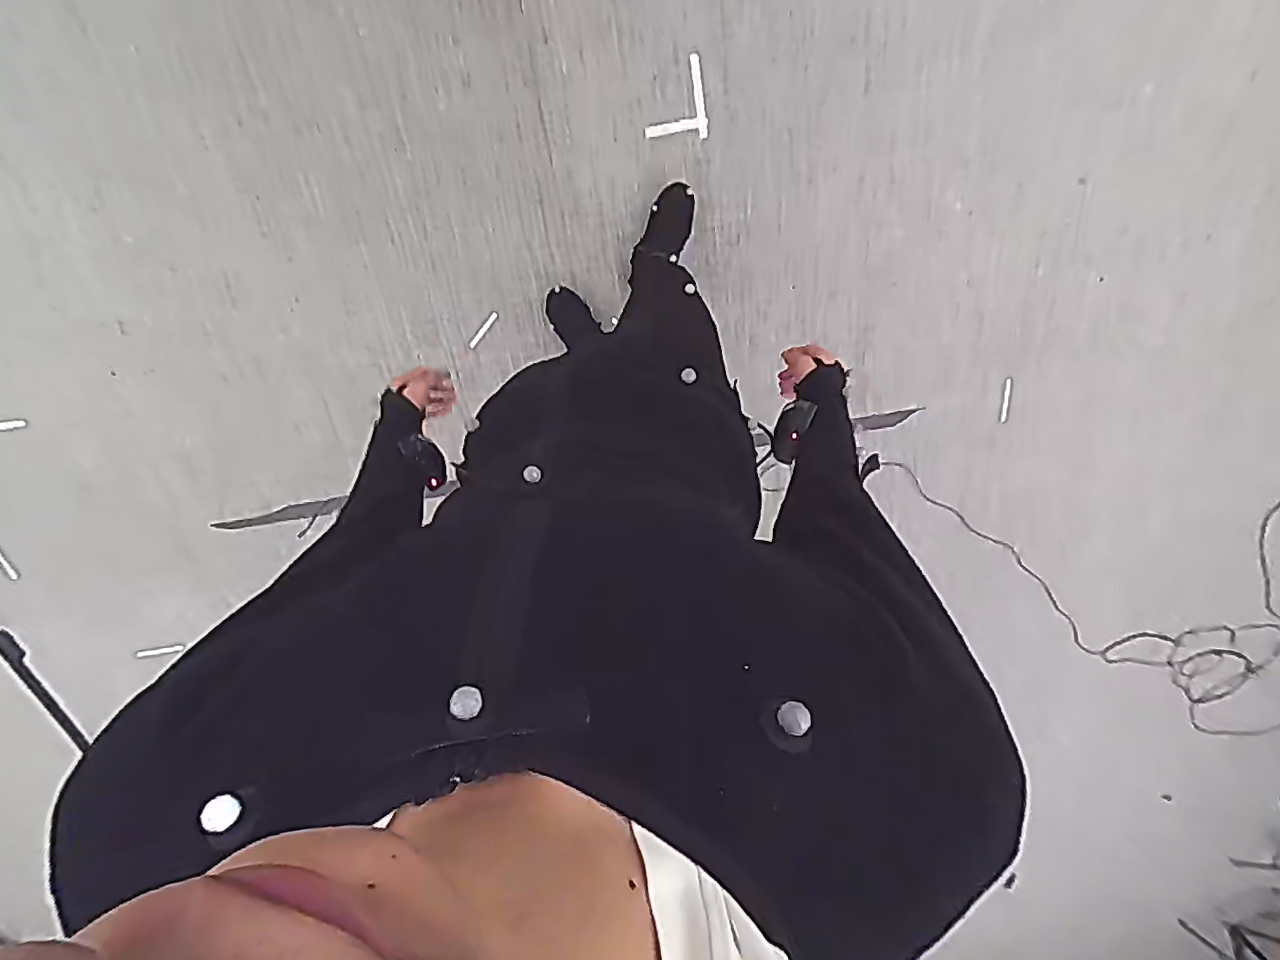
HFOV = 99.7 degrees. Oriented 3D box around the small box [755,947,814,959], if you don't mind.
[{"bbox_3d":[0.417,1.426,1.472,0.168,0.176,0.179,-8,112,-1],"label":"small box"}]
